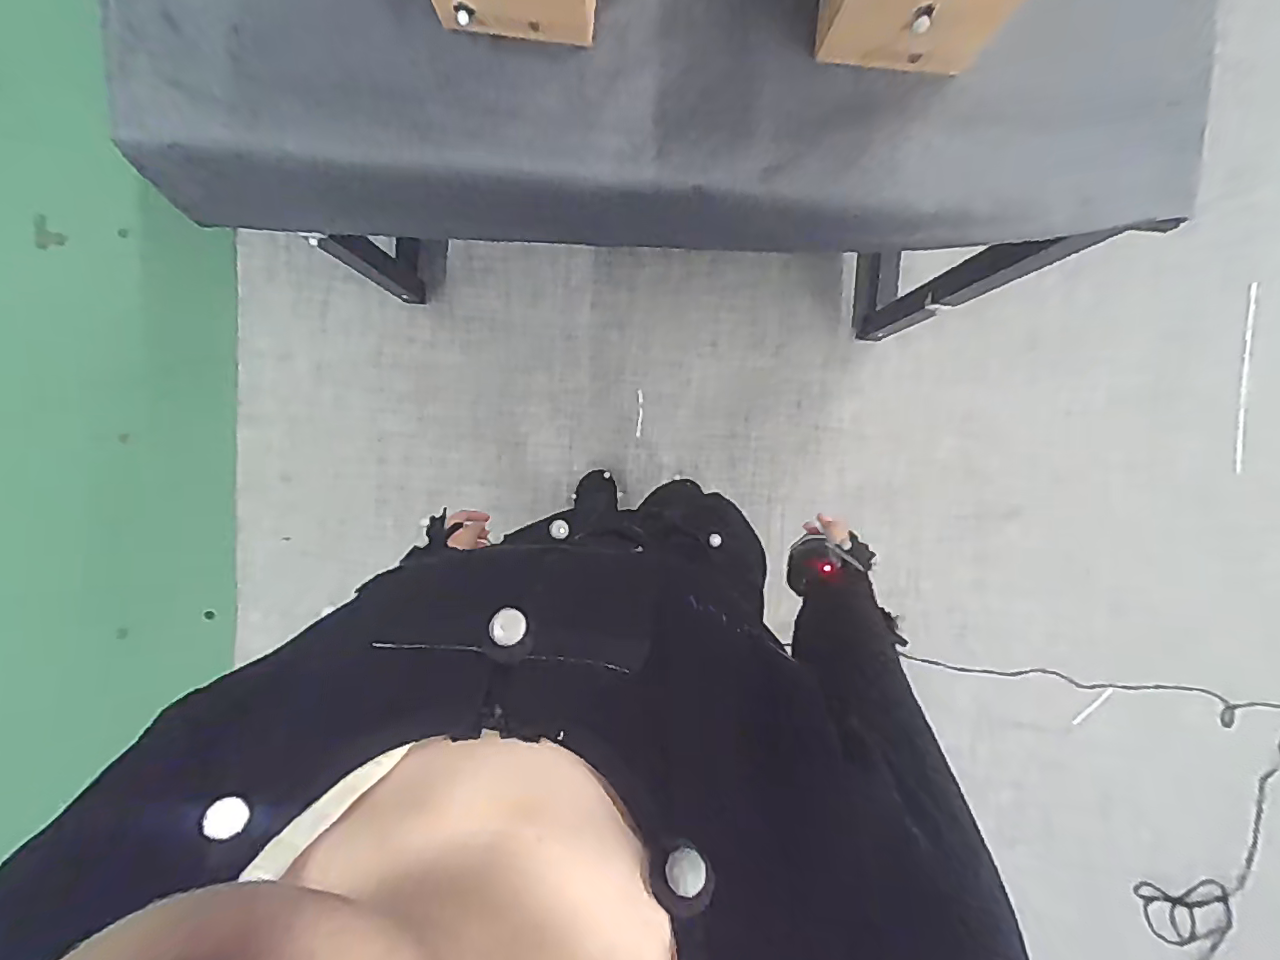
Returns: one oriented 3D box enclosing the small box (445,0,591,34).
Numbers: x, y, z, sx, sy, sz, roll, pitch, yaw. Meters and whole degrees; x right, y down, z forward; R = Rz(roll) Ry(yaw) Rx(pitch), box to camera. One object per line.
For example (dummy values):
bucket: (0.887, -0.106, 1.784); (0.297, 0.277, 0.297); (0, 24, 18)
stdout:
small box: (-0.127, -0.574, 0.509); (0.168, 0.176, 0.179); (7, 92, -2)

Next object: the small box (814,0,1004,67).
small box: (0.279, -0.544, 0.520); (0.168, 0.176, 0.179); (5, 94, -2)
